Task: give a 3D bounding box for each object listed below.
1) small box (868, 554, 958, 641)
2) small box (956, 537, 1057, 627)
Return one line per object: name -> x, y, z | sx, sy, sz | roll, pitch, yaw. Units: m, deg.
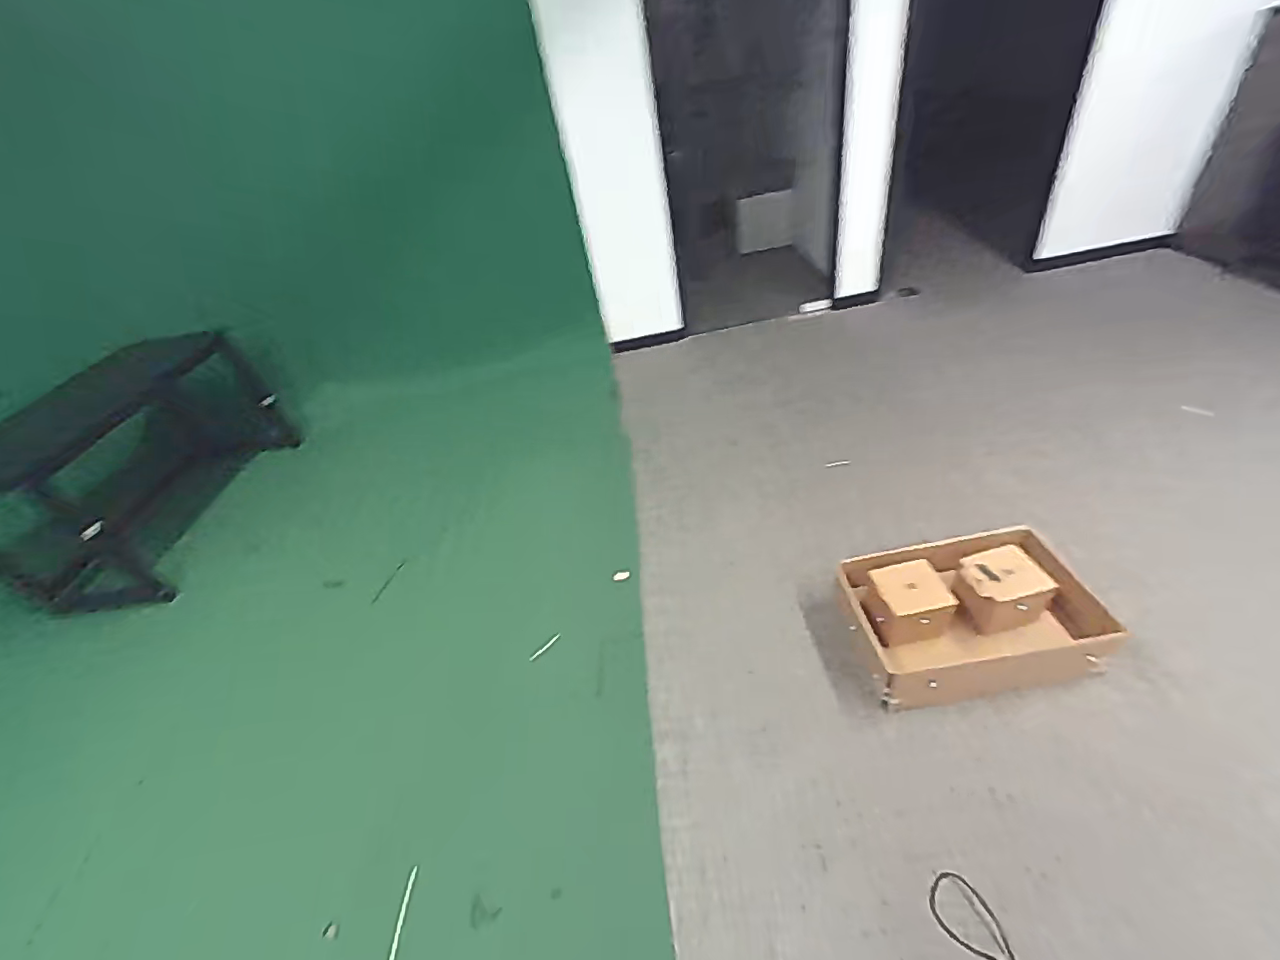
small box -> 0.788, 0.348, 1.584 | 0.179, 0.176, 0.168 | -13, 41, -1
small box -> 1.048, 0.299, 1.566 | 0.179, 0.176, 0.168 | -16, 40, -2
